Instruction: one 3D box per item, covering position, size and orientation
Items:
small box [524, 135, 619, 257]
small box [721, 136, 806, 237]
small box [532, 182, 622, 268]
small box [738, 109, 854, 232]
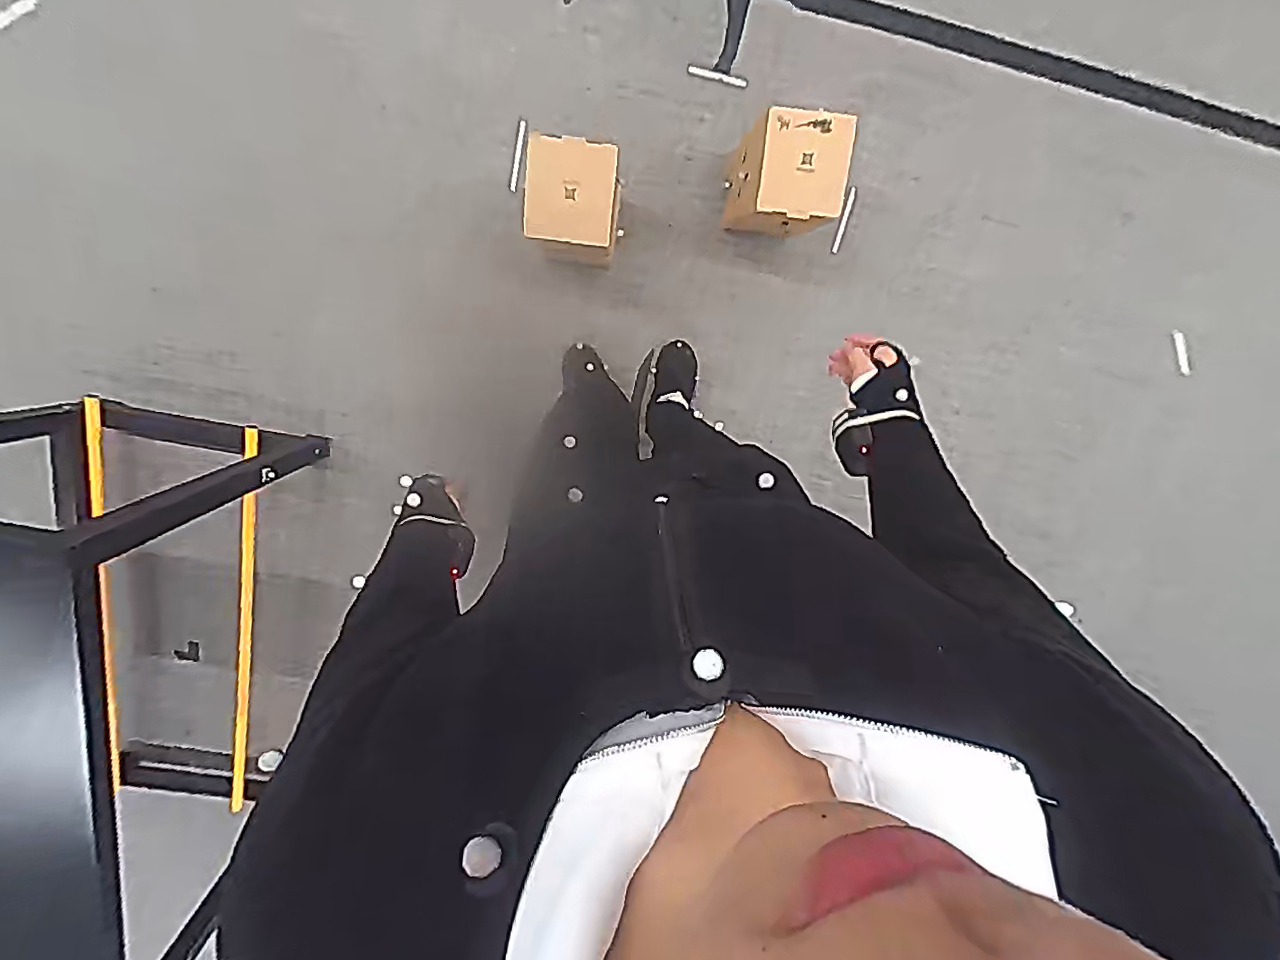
[{"bbox_3d":[-0.131,-0.554,1.077,0.168,0.176,0.179,6,107,-3],"label":"small box"},{"bbox_3d":[0.297,-0.661,1.236,0.179,0.176,0.168,6,106,-4],"label":"small box"},{"bbox_3d":[-0.140,-0.590,1.236,0.179,0.176,0.168,9,106,-5],"label":"small box"},{"bbox_3d":[0.300,-0.606,1.082,0.168,0.176,0.179,4,107,-4],"label":"small box"}]
